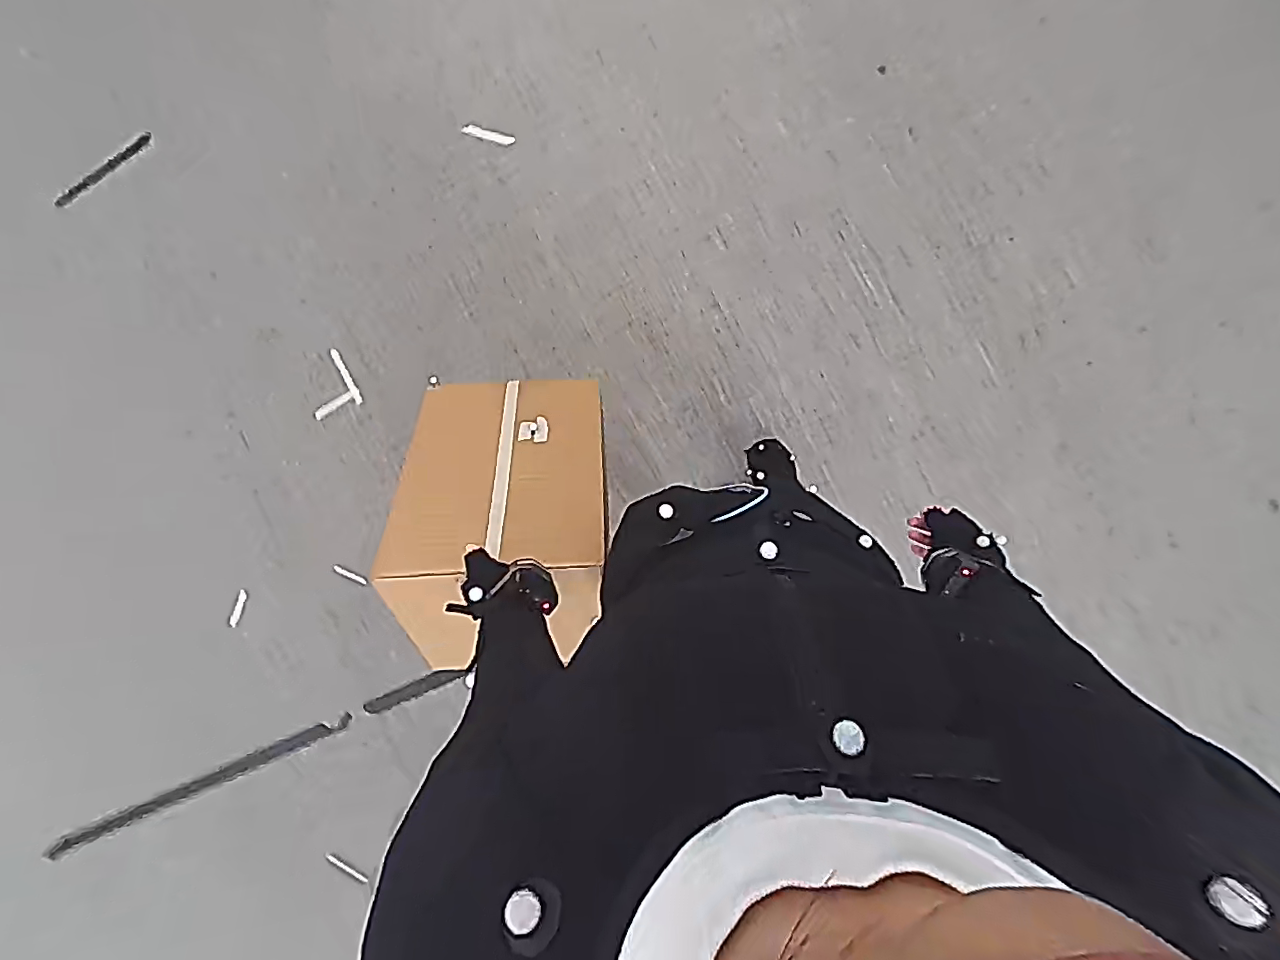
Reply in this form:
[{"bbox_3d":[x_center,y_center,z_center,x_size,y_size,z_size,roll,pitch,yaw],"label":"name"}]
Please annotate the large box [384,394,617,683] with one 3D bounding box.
[{"bbox_3d":[-0.212,0.098,0.970,0.320,0.320,0.408,-3,47,-4],"label":"large box"}]
